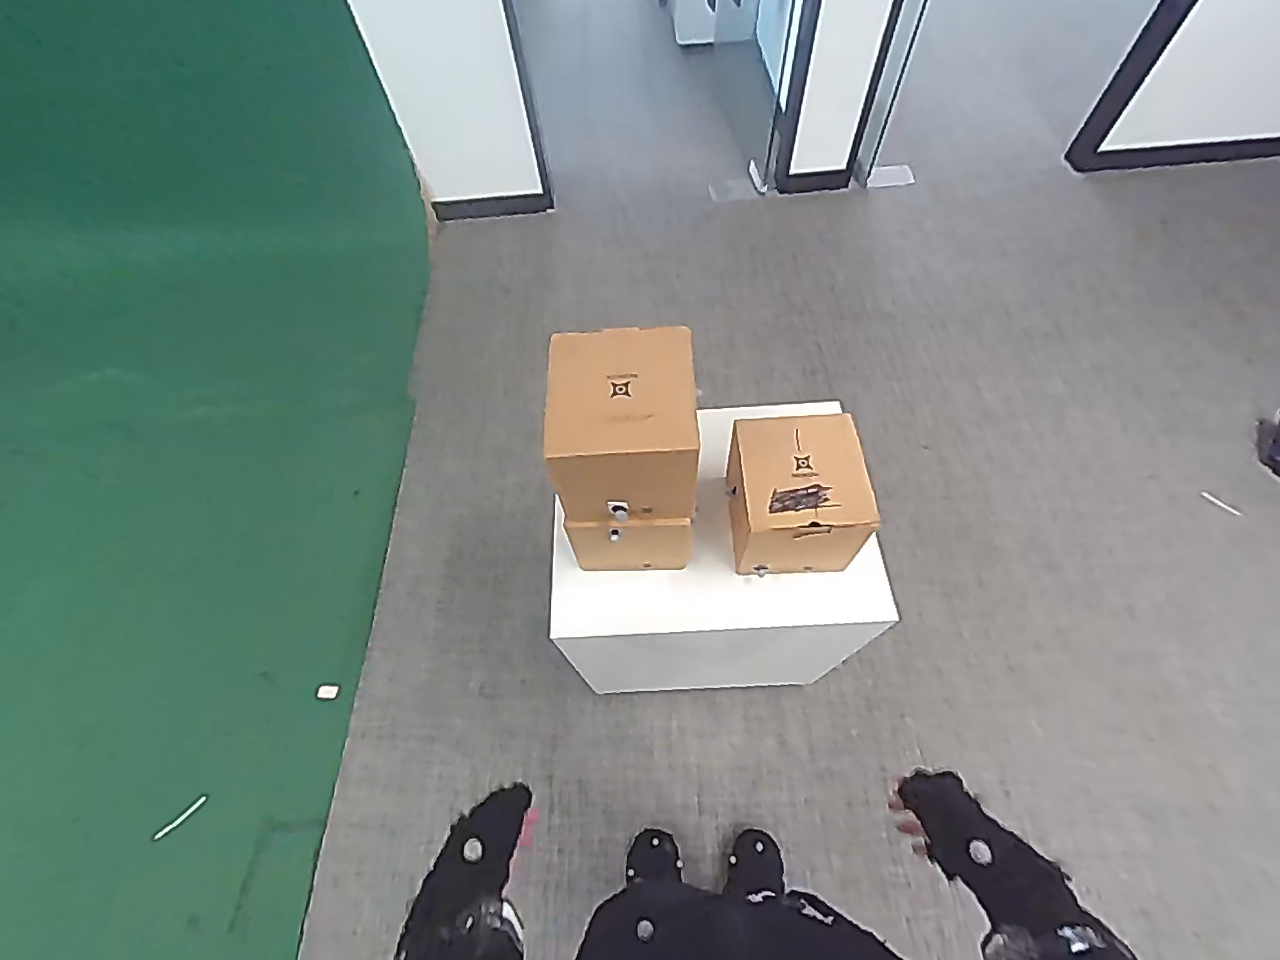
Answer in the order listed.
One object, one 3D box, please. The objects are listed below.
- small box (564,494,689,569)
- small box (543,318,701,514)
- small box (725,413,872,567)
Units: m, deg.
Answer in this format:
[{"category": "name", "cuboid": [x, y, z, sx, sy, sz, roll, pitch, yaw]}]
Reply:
[{"category": "small box", "cuboid": [-0.013, 0.021, 0.815, 0.168, 0.176, 0.179, -2, 59, 4]}, {"category": "small box", "cuboid": [-0.018, -0.073, 0.664, 0.168, 0.176, 0.179, -3, 62, 2]}, {"category": "small box", "cuboid": [0.220, 0.023, 0.799, 0.168, 0.176, 0.179, -3, 59, 3]}]
